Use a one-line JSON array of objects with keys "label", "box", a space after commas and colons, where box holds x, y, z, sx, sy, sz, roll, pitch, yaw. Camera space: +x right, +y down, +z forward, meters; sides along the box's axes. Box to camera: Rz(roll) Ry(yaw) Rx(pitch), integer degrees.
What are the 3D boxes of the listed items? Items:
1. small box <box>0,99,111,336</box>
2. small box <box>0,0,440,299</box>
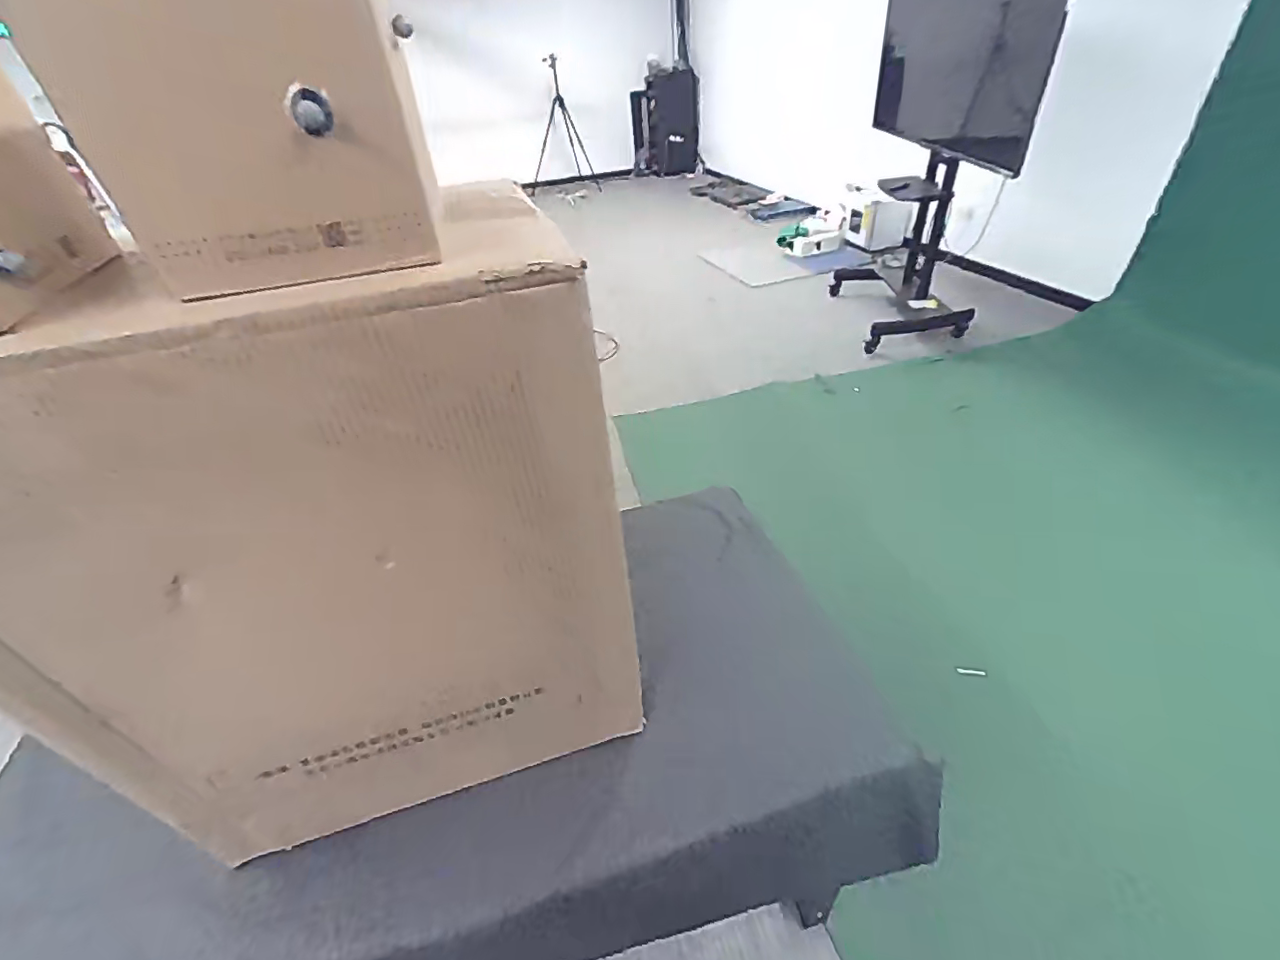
[{"label": "small box", "box": [-0.478, -0.167, 0.311, 0.179, 0.176, 0.168, -15, 41, -13]}, {"label": "small box", "box": [-0.241, -0.232, 0.366, 0.168, 0.176, 0.179, -12, 39, -11]}]
